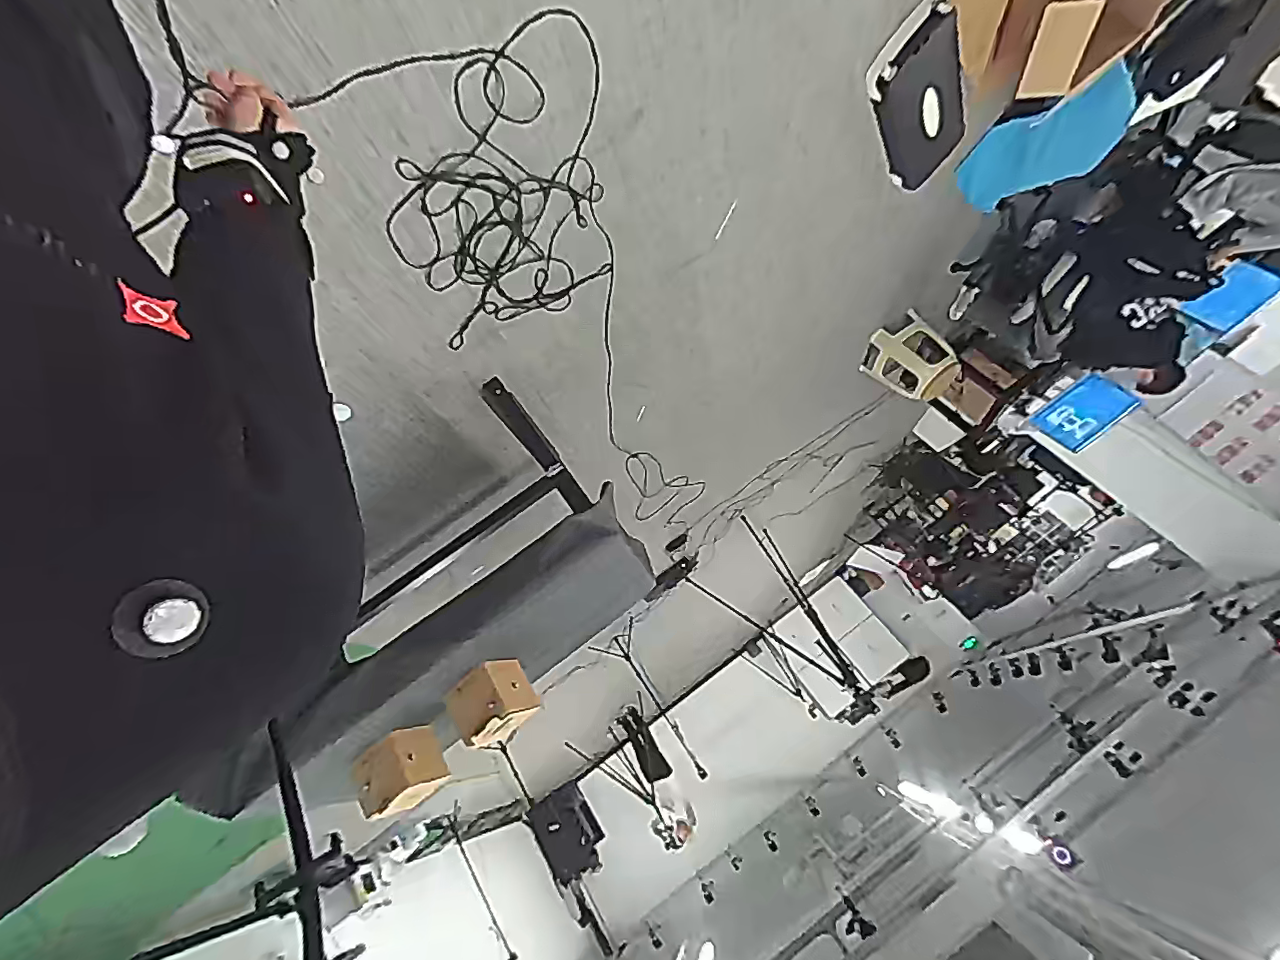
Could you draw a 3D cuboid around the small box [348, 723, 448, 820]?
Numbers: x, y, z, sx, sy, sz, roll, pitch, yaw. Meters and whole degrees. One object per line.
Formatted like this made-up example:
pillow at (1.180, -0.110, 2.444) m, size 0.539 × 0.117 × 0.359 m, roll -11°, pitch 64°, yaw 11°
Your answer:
small box at (-0.699, 0.831, 1.559) m, size 0.168 × 0.176 × 0.179 m, roll -40°, pitch 155°, yaw 5°
